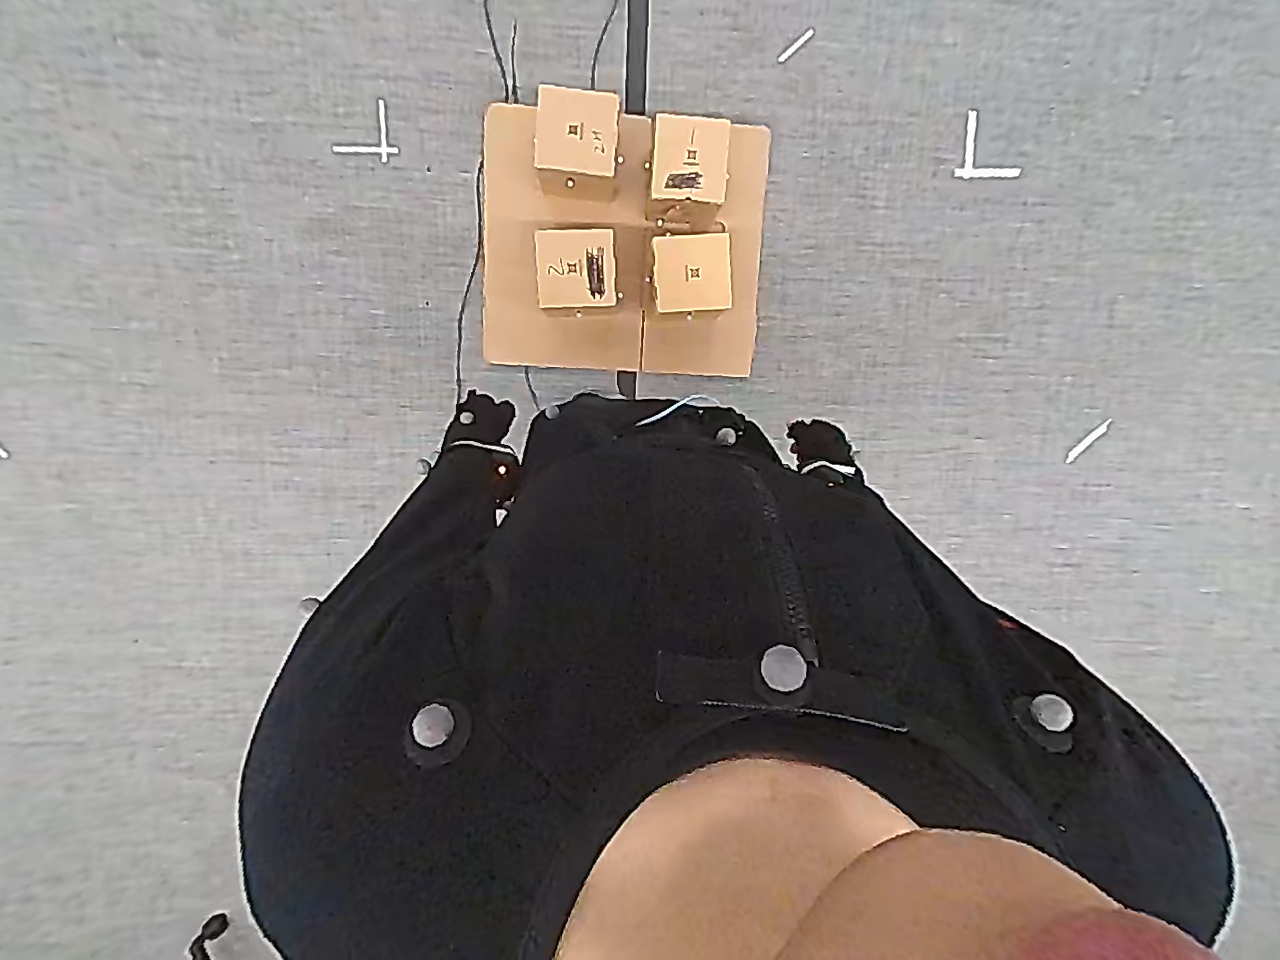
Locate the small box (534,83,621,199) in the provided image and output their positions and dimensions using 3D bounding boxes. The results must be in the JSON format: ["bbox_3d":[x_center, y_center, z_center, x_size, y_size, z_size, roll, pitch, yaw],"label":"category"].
[{"bbox_3d":[-0.140,-0.767,1.241,0.179,0.176,0.168,6,99,-5],"label":"small box"}]

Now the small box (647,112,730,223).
[{"bbox_3d":[0.107,-0.722,1.268,0.168,0.176,0.179,4,98,-3],"label":"small box"}]

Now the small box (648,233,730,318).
[{"bbox_3d":[0.113,-0.489,1.309,0.179,0.176,0.168,-4,100,-1],"label":"small box"}]
